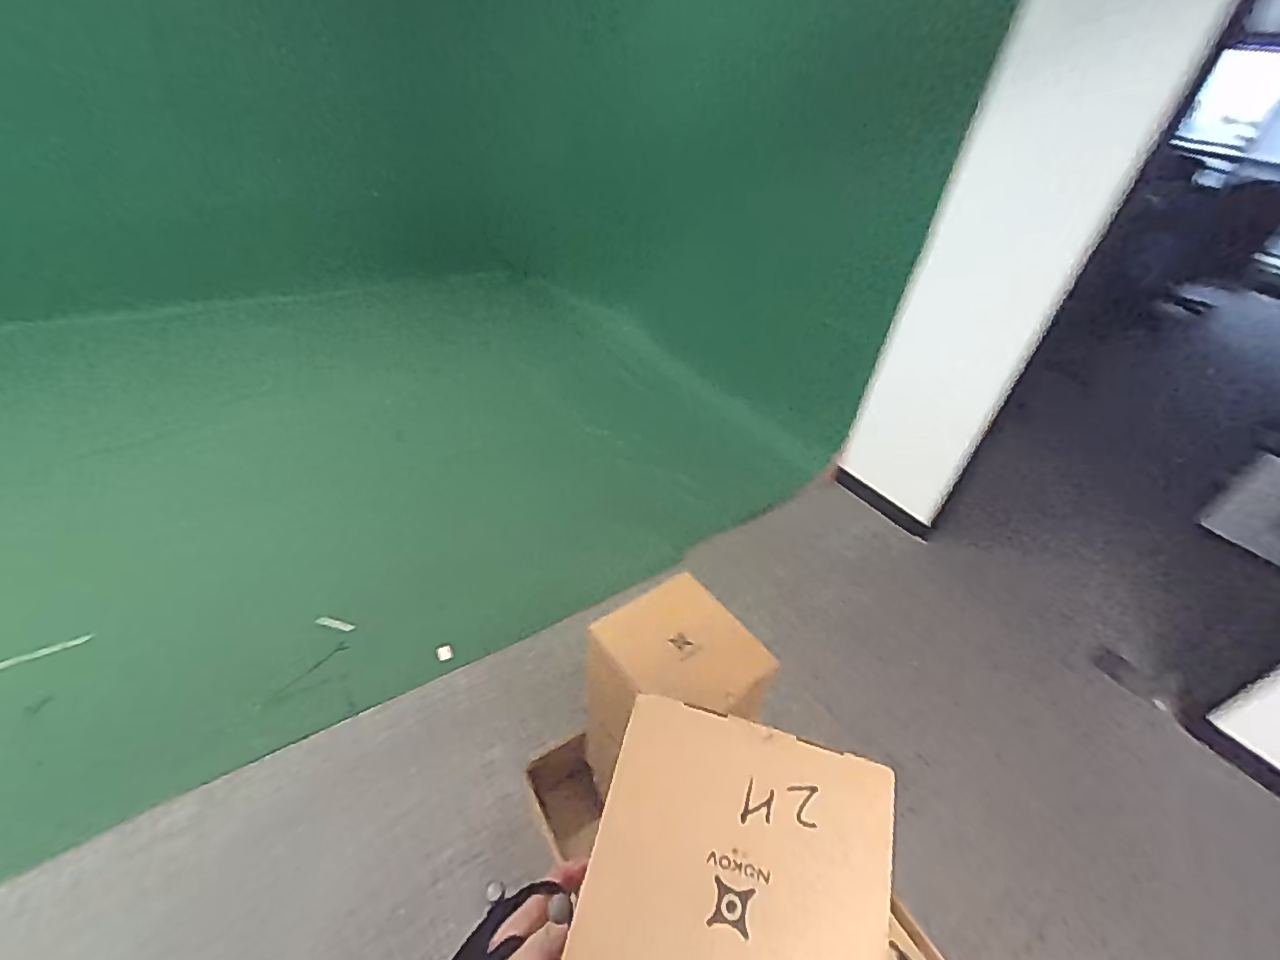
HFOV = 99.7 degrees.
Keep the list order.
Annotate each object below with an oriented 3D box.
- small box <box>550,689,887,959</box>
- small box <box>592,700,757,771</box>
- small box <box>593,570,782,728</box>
[{"bbox_3d":[0.046,0.266,0.364,0.168,0.176,0.179,15,59,7],"label":"small box"},{"bbox_3d":[0.043,0.390,0.803,0.179,0.176,0.168,-22,48,-30],"label":"small box"},{"bbox_3d":[0.049,0.258,0.707,0.168,0.176,0.179,-23,49,-30],"label":"small box"}]
